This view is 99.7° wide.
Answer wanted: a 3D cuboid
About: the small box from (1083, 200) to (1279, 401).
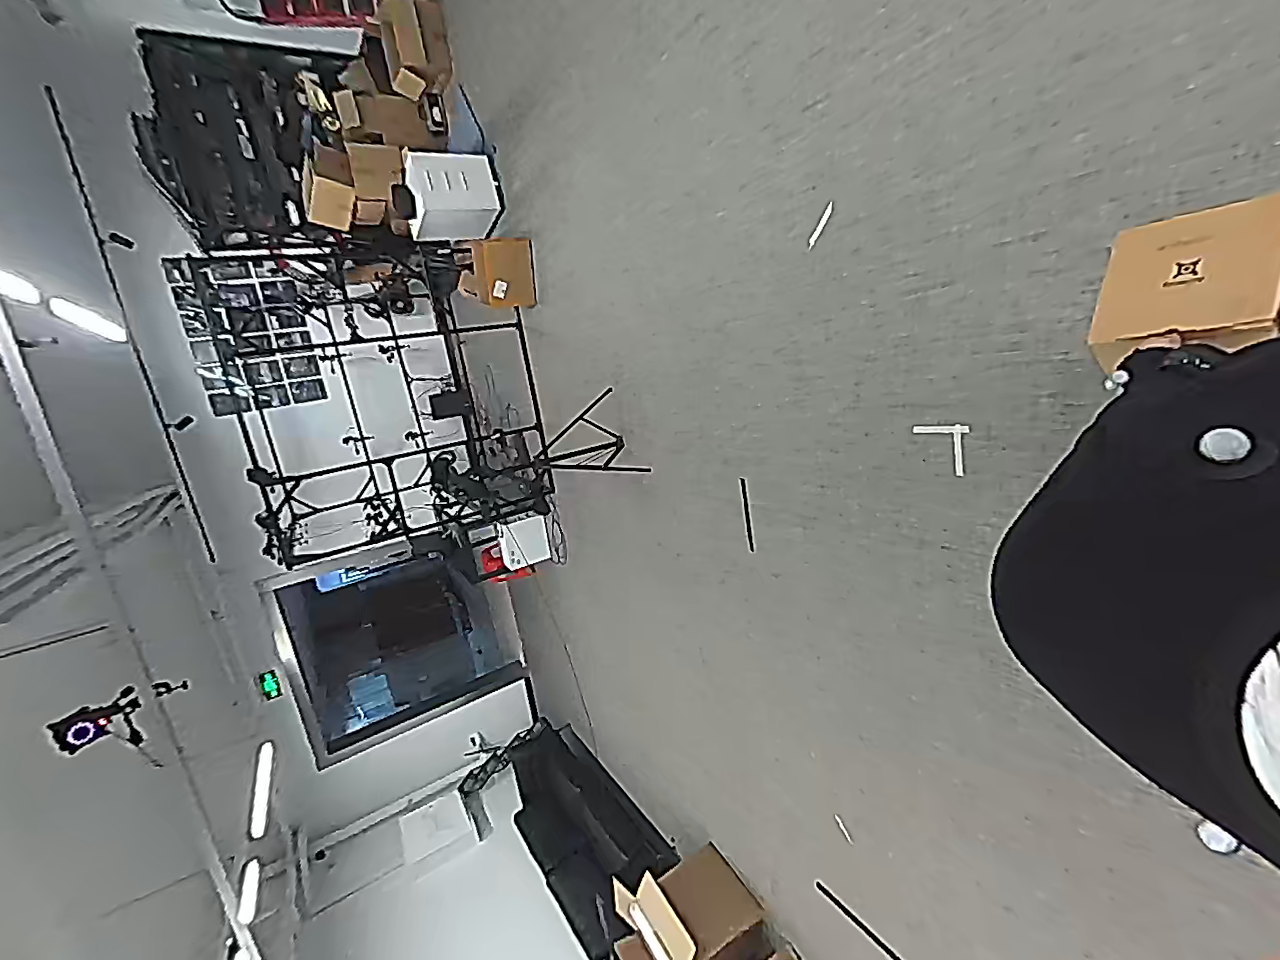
[{"bbox_3d":[0.719,-0.212,0.699,0.168,0.176,0.179,7,72,57],"label":"small box"}]
